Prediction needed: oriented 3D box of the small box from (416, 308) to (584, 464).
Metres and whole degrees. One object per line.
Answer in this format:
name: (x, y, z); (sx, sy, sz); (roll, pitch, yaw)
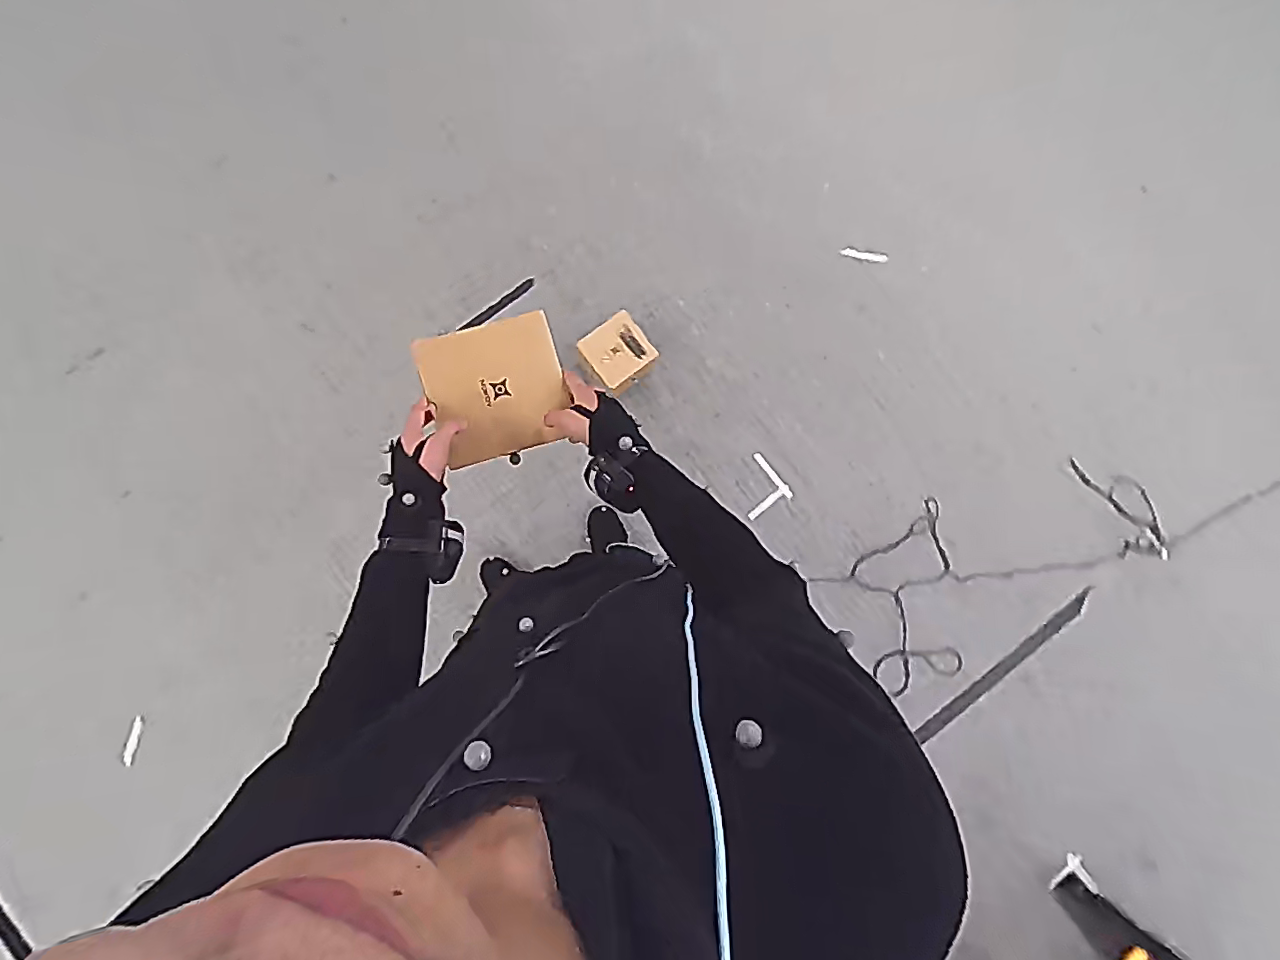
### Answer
small box: (-0.186, -0.130, 0.766); (0.179, 0.176, 0.168); (-16, 98, -5)
